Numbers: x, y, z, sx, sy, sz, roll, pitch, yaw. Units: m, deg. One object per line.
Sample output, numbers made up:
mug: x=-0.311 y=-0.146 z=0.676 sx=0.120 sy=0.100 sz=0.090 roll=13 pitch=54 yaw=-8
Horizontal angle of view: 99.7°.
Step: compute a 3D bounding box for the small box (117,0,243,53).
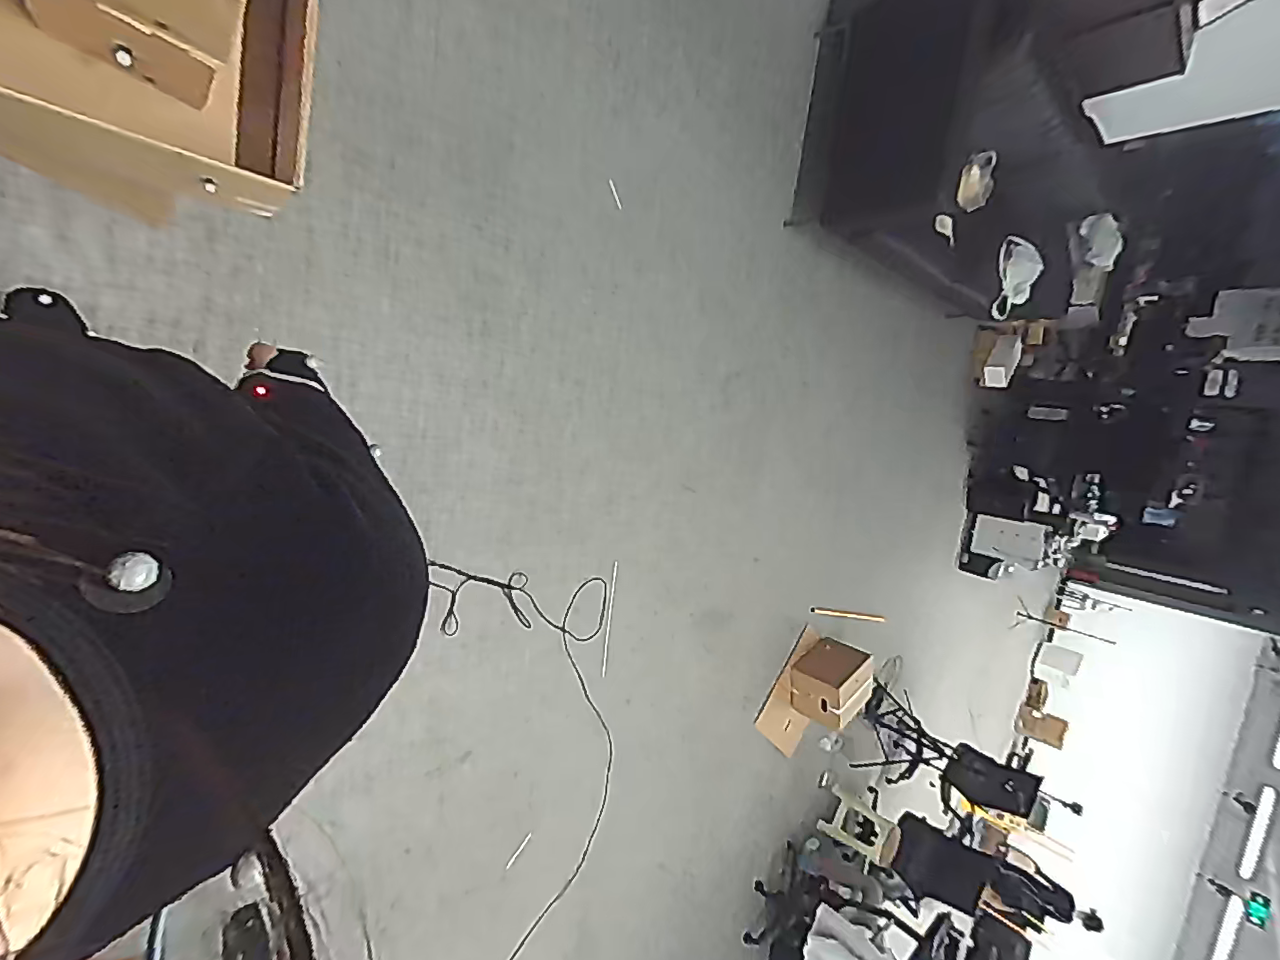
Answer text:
small box: x=-0.480 y=-0.573 z=0.524 sx=0.168 sy=0.176 sz=0.179 roll=7 pitch=95 yaw=-43
